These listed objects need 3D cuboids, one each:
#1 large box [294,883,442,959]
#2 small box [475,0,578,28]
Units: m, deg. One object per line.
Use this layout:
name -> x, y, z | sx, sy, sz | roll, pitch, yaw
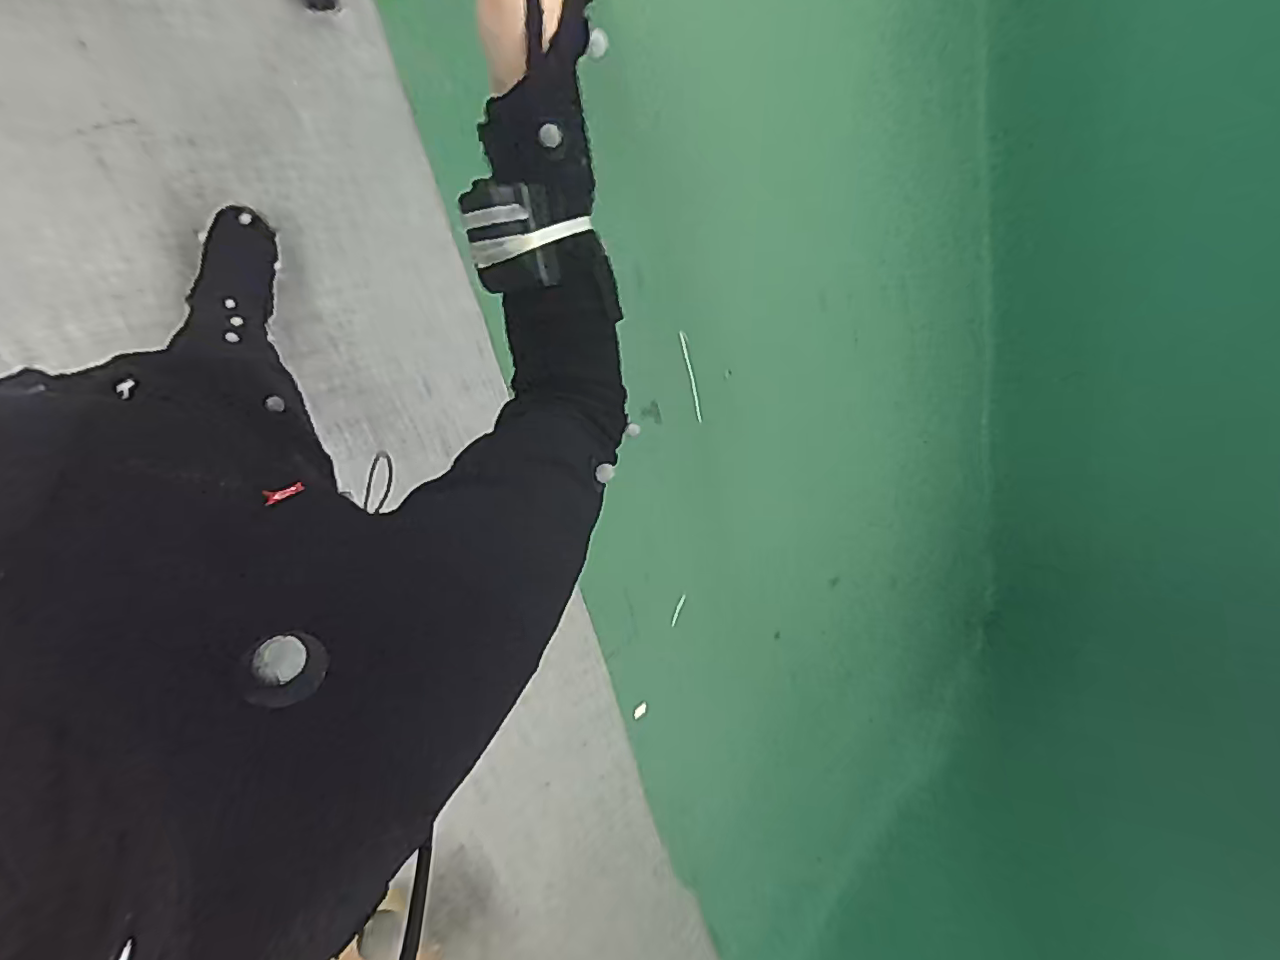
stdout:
large box -> -0.672, 1.284, 1.252 | 0.408, 0.320, 0.320 | -30, 115, -31
small box -> -0.088, -0.406, 0.293 | 0.168, 0.176, 0.179 | 4, 108, -25
